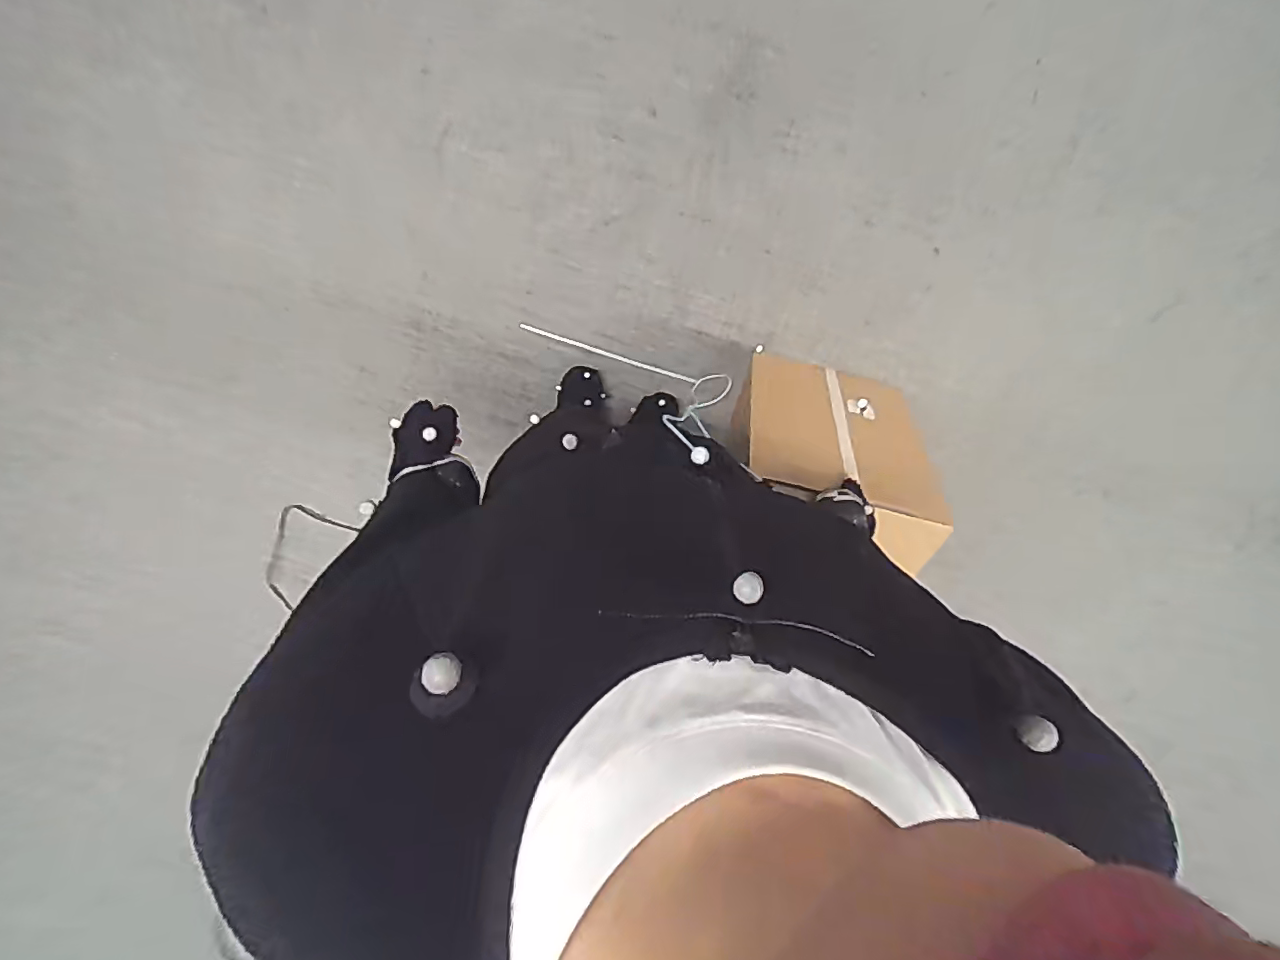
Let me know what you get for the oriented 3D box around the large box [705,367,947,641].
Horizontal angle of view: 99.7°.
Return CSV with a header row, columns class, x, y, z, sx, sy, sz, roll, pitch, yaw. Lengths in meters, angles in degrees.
class,x,y,z,sx,sy,sz,roll,pitch,yaw
large box,0.316,0.036,1.049,0.320,0.408,0.320,14,130,1
